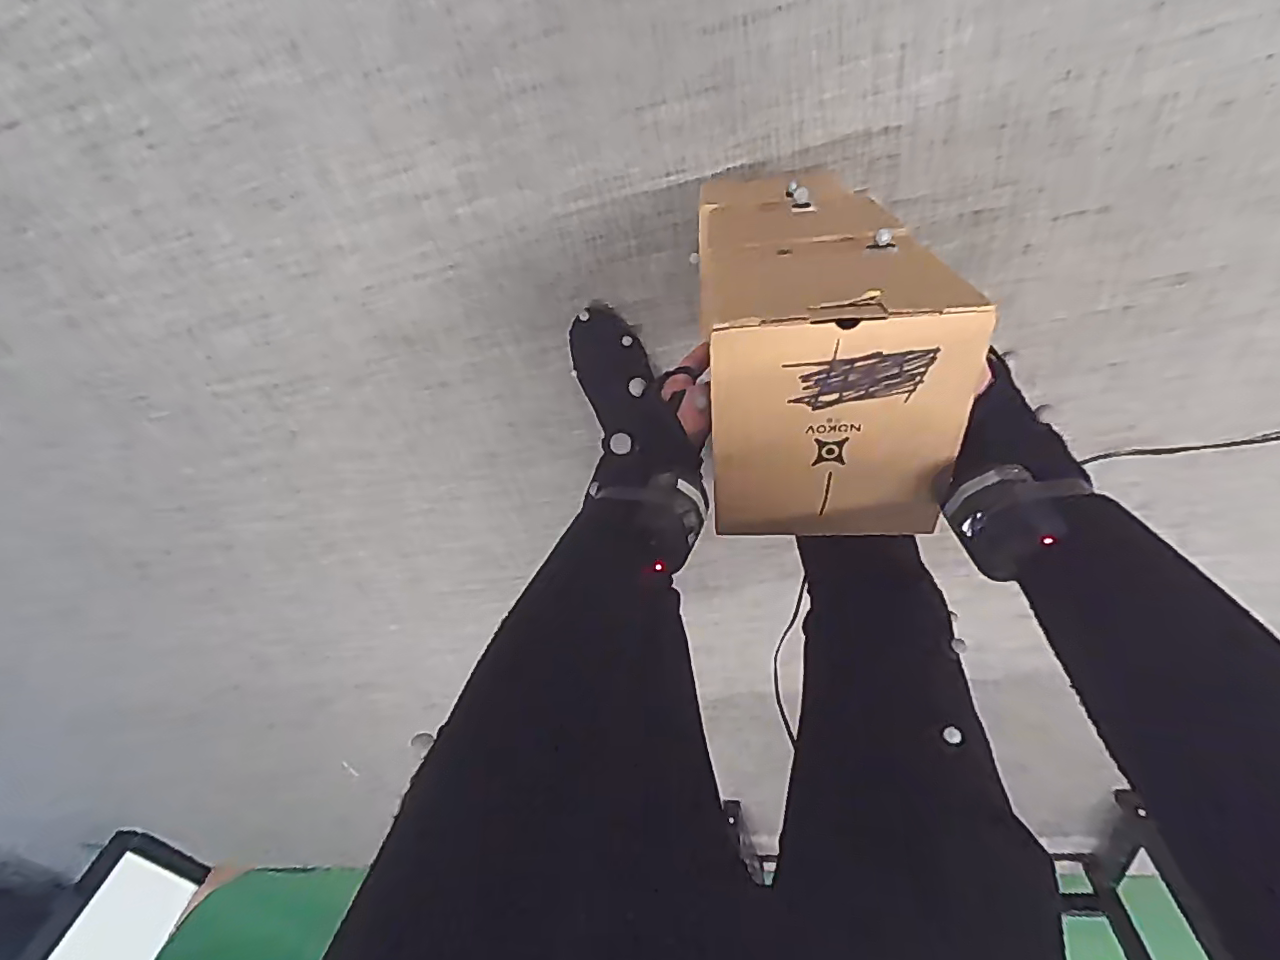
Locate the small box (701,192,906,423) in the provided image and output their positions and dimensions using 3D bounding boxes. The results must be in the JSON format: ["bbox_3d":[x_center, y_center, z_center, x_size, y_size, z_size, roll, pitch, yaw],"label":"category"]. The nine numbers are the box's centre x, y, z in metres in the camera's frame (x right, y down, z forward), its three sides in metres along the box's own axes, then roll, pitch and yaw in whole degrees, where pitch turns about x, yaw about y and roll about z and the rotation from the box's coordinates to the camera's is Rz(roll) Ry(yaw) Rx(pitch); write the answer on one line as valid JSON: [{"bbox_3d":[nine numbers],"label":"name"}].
[{"bbox_3d":[0.153,-0.178,0.556,0.168,0.176,0.179,-2,125,10],"label":"small box"}]

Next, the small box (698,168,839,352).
[{"bbox_3d":[0.160,-0.278,0.686,0.168,0.176,0.179,1,128,8],"label":"small box"}]
